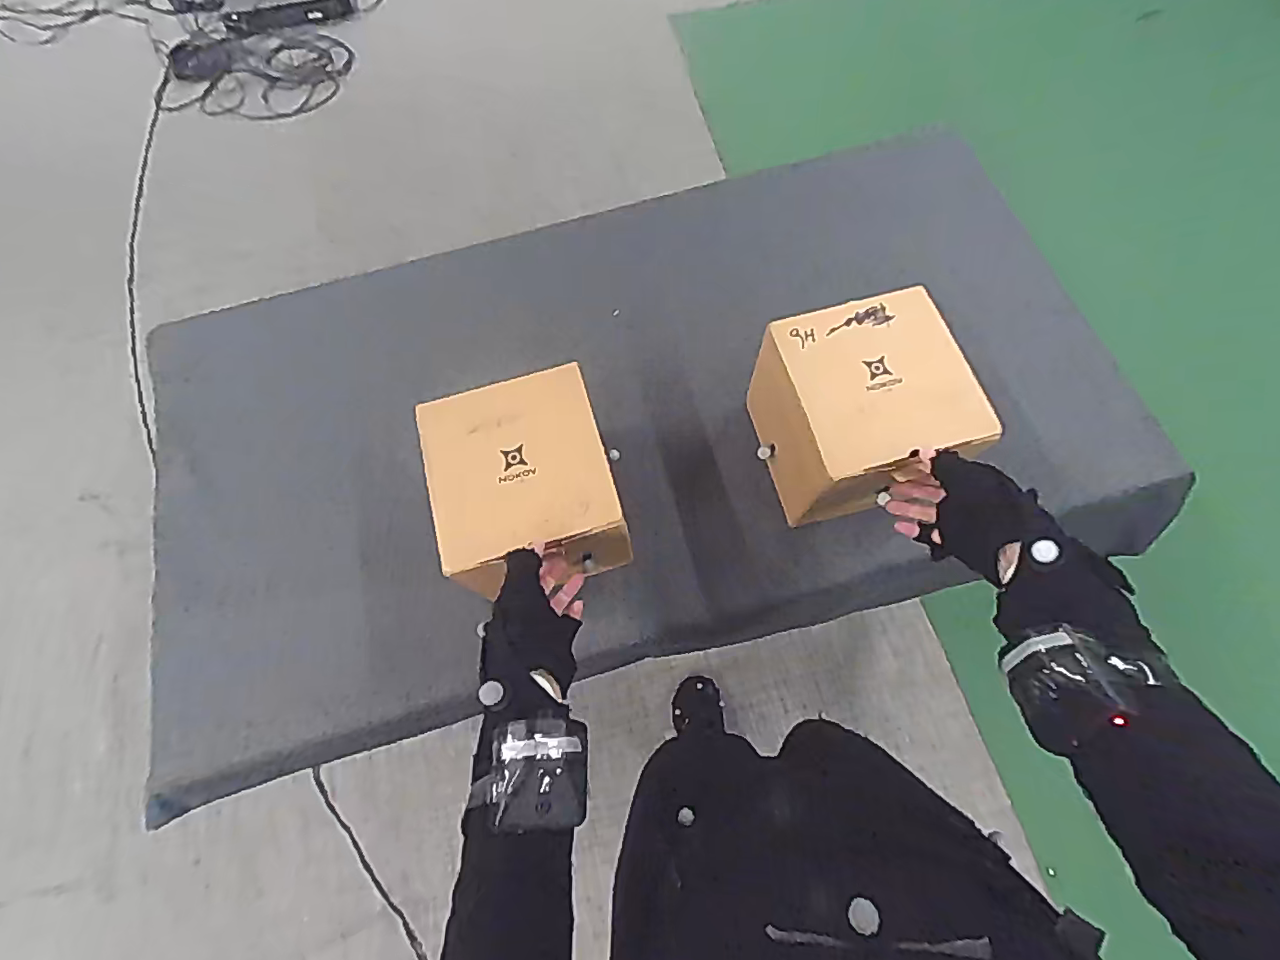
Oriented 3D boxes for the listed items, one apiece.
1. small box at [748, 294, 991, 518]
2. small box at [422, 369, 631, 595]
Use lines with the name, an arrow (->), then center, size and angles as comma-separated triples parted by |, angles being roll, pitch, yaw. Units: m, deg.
small box -> 0.231, -0.067, 0.598 | 0.168, 0.176, 0.179 | -14, 70, -3
small box -> -0.111, 0.015, 0.583 | 0.168, 0.176, 0.179 | -17, 68, -6
